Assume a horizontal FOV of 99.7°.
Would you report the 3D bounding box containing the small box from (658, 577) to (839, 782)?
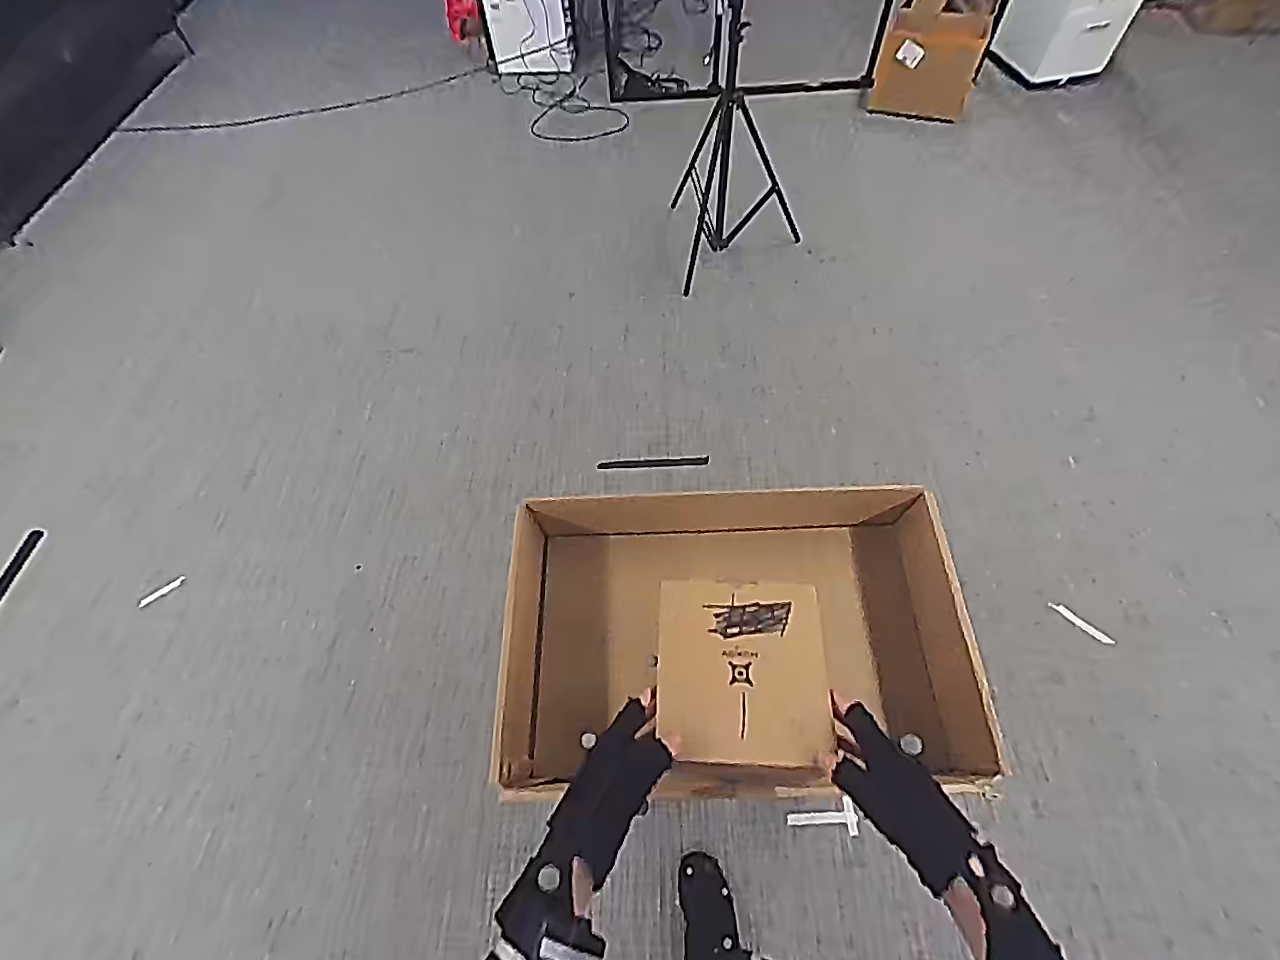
[{"bbox_3d":[0.105,0.223,0.599,0.168,0.176,0.179,0,56,4],"label":"small box"}]
